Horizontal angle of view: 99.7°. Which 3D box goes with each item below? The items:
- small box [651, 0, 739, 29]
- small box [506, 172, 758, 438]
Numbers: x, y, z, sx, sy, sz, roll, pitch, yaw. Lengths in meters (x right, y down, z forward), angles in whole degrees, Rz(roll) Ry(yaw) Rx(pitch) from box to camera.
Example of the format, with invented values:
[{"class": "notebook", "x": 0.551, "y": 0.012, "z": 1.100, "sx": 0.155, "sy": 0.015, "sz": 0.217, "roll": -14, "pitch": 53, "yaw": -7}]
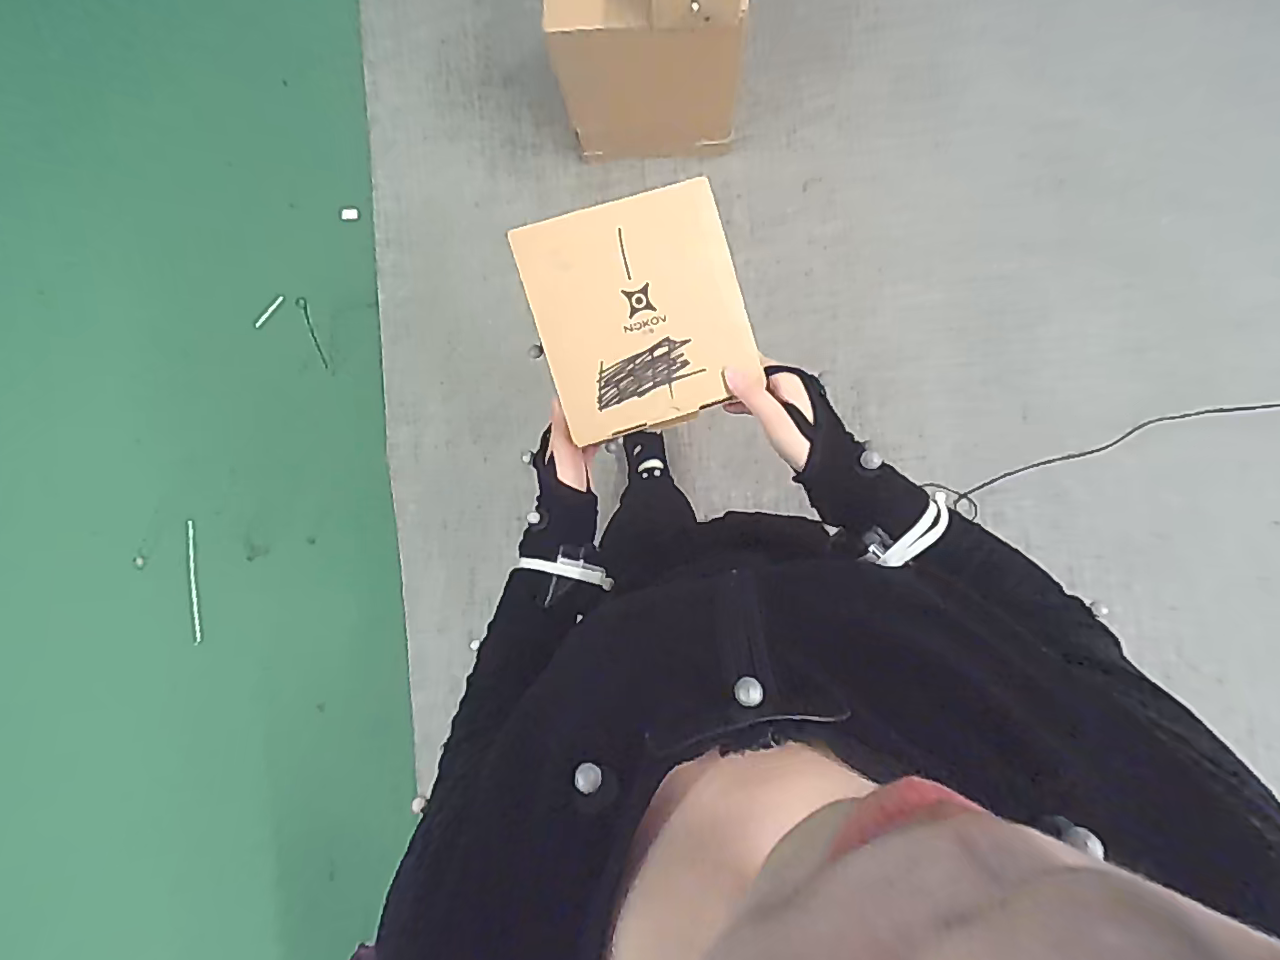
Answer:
[{"class": "small box", "x": 0.100, "y": -0.956, "z": 0.959, "sx": 0.168, "sy": 0.176, "sz": 0.179, "roll": 2, "pitch": 89, "yaw": 5}, {"class": "small box", "x": -0.010, "y": -0.143, "z": 0.507, "sx": 0.168, "sy": 0.176, "sz": 0.179, "roll": -17, "pitch": 93, "yaw": -4}]
